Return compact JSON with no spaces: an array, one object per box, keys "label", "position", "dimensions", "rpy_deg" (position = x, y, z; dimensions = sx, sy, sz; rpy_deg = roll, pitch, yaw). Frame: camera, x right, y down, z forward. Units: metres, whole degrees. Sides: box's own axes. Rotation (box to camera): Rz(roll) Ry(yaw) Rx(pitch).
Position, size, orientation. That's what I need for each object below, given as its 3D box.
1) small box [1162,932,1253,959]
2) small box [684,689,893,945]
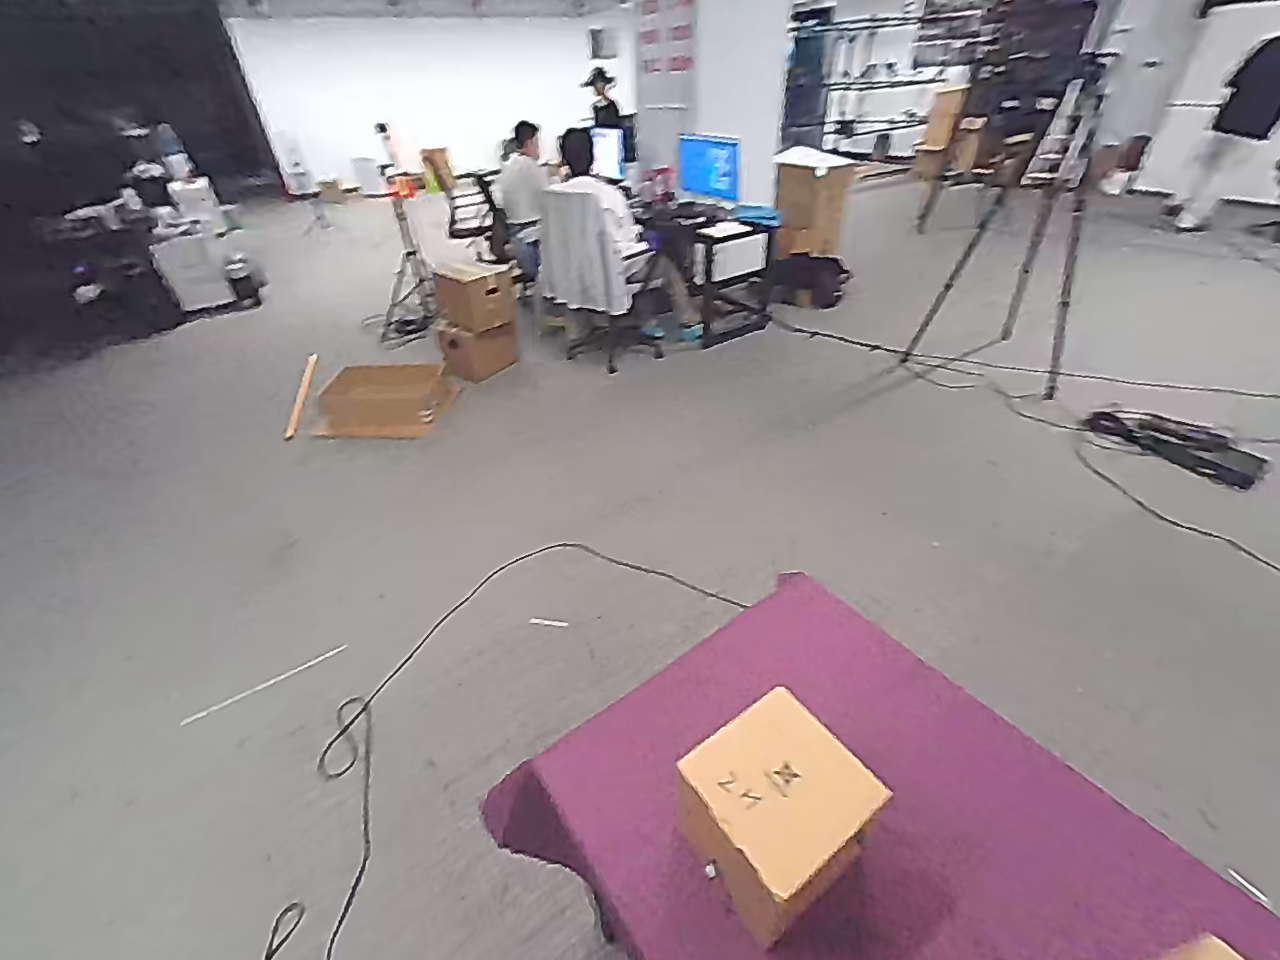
[{"label":"small box","position":[0.362,0.435,0.317],"dimensions":[0.179,0.176,0.168],"rpy_deg":[-22,40,-26]},{"label":"small box","position":[0.167,0.402,0.656],"dimensions":[0.179,0.176,0.168],"rpy_deg":[-25,41,-26]}]
